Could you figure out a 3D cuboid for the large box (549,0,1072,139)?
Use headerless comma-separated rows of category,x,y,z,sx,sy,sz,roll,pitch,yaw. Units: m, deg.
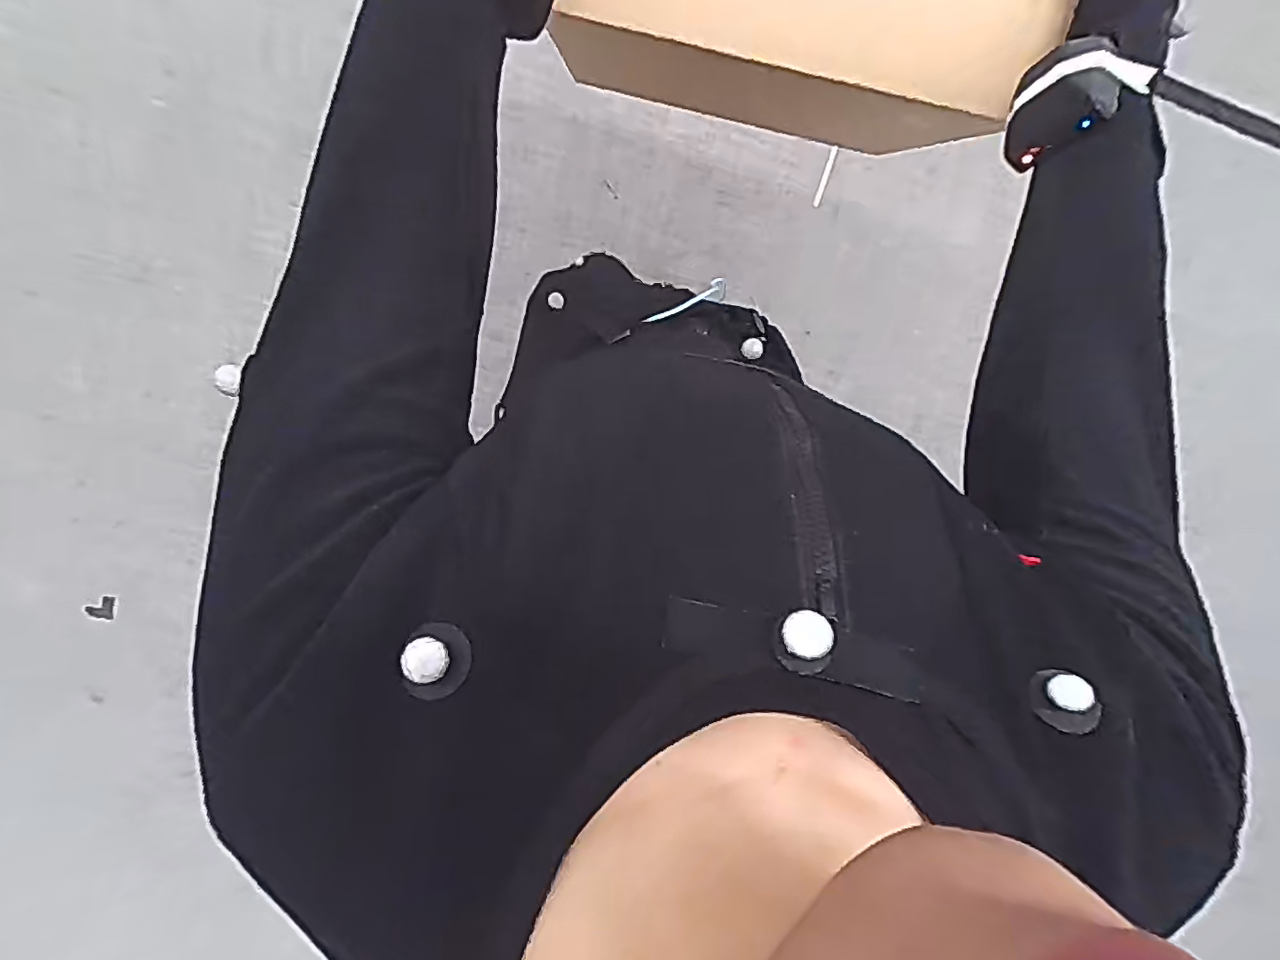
large box,0.145,-0.534,0.484,0.408,0.320,0.320,10,119,-5
